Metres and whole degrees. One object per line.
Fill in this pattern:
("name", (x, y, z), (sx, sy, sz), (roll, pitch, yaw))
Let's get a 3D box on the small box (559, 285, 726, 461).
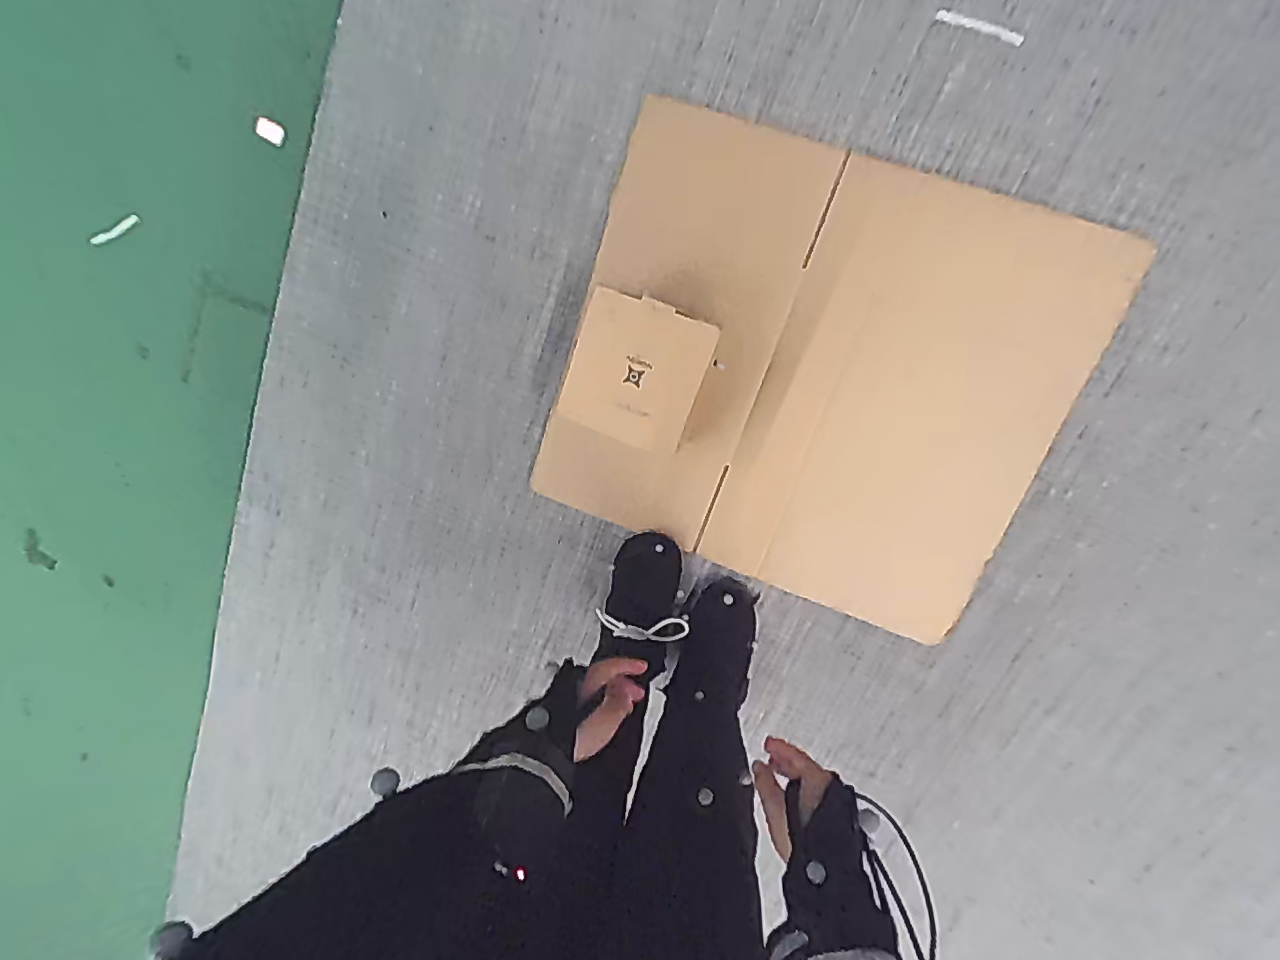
("small box", (0.012, -0.147, 0.746), (0.168, 0.176, 0.179), (22, 106, 7))
